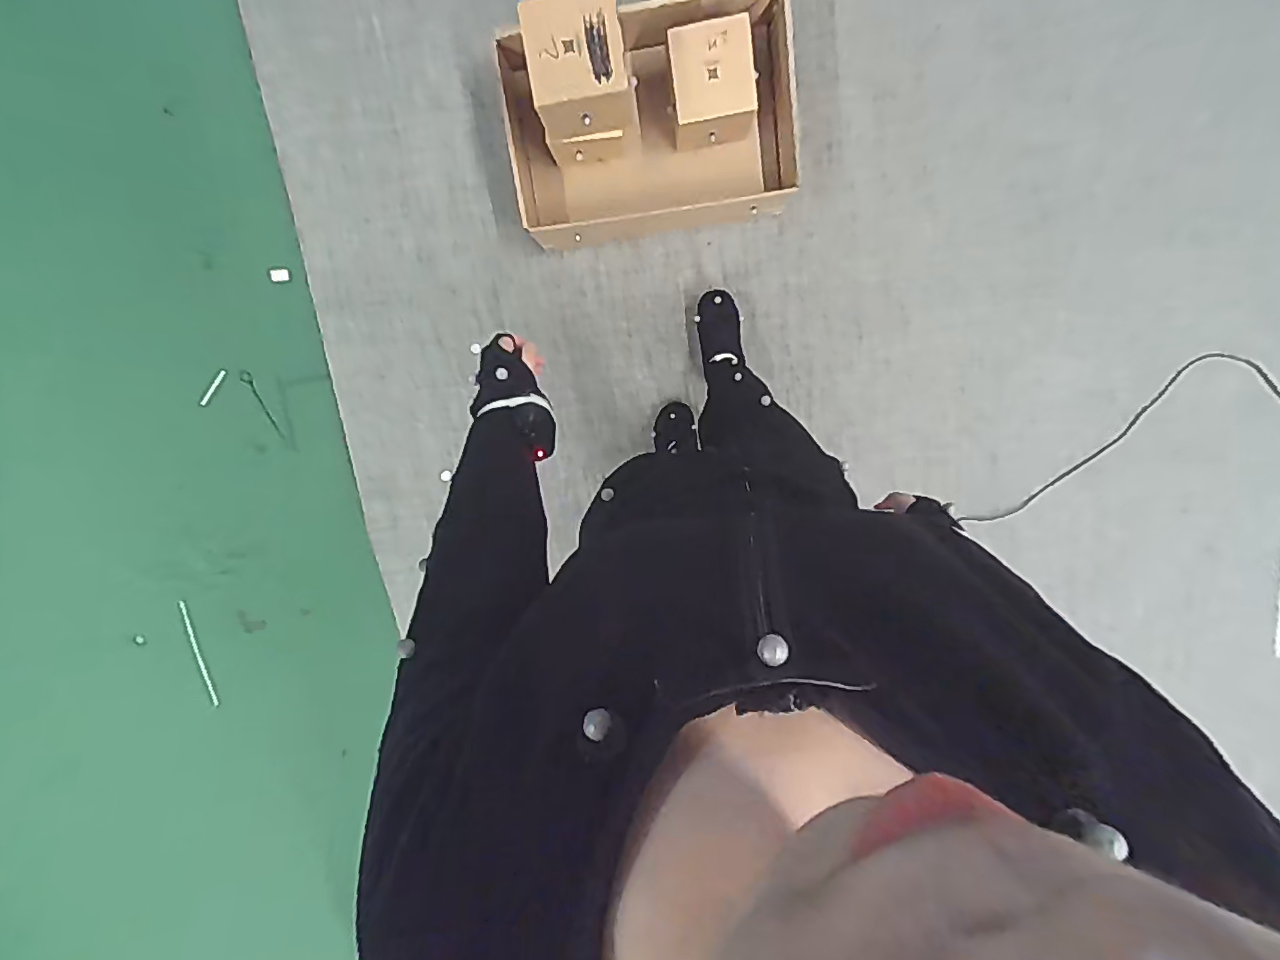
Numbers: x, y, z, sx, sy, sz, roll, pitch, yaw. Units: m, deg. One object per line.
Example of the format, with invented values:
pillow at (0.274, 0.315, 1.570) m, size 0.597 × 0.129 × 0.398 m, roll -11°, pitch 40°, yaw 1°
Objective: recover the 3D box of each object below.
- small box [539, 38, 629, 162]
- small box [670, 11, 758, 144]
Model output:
small box at (-0.115, -0.820, 1.188) m, size 0.168 × 0.176 × 0.179 m, roll -4°, pitch 103°, yaw 3°
small box at (0.156, -0.851, 1.166) m, size 0.168 × 0.176 × 0.179 m, roll -7°, pitch 103°, yaw 5°
